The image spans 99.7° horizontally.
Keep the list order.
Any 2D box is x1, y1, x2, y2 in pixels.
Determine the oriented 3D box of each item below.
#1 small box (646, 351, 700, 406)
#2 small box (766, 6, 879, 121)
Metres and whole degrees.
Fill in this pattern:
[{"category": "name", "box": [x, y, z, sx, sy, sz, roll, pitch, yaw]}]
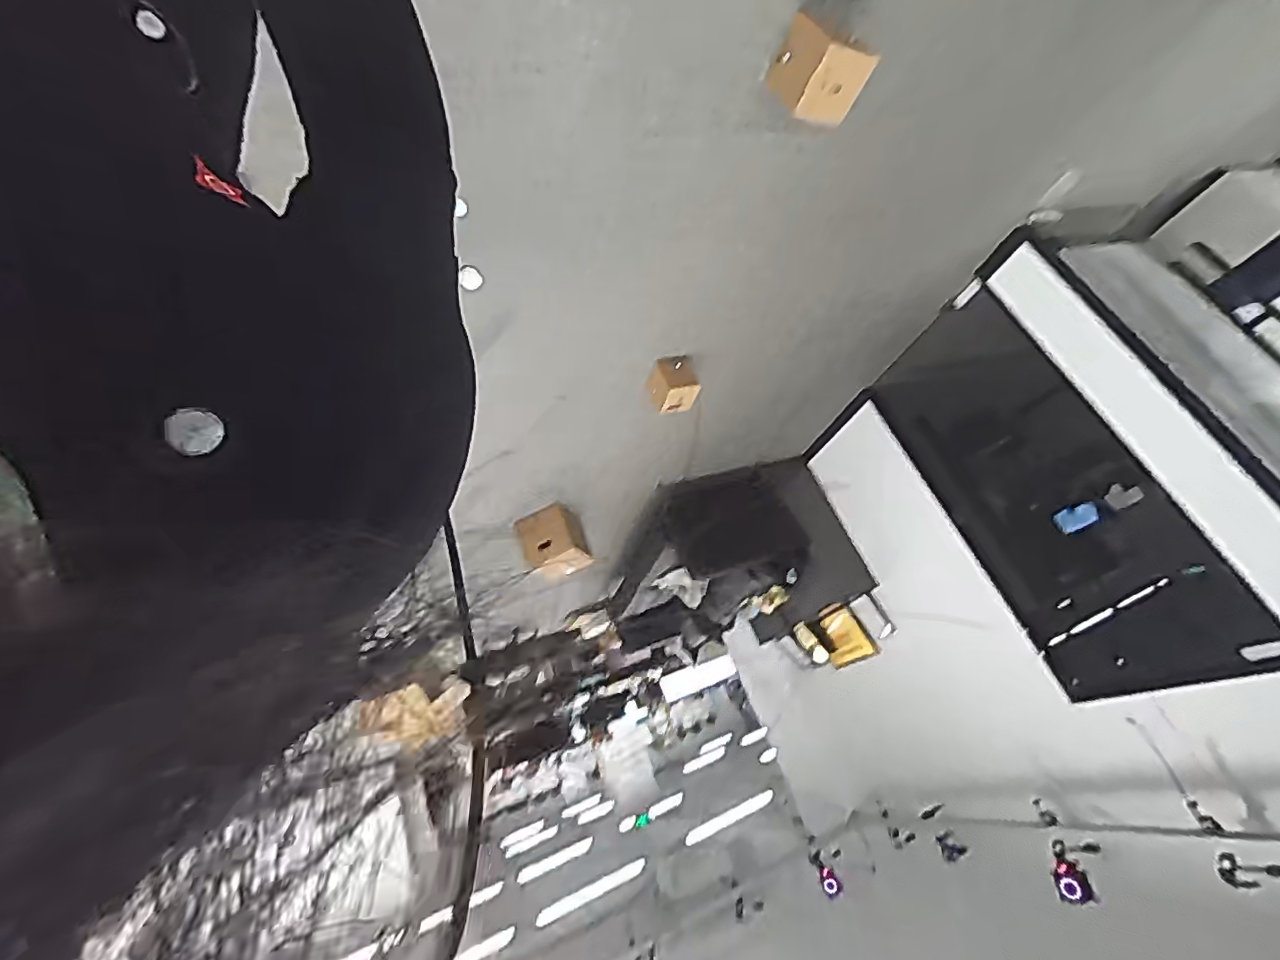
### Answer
[{"category": "small box", "box": [0.143, -0.462, 2.457, 0.168, 0.176, 0.179, -12, 155, -24]}, {"category": "small box", "box": [0.460, -1.063, 1.383, 0.179, 0.176, 0.168, -10, 154, -28]}]
